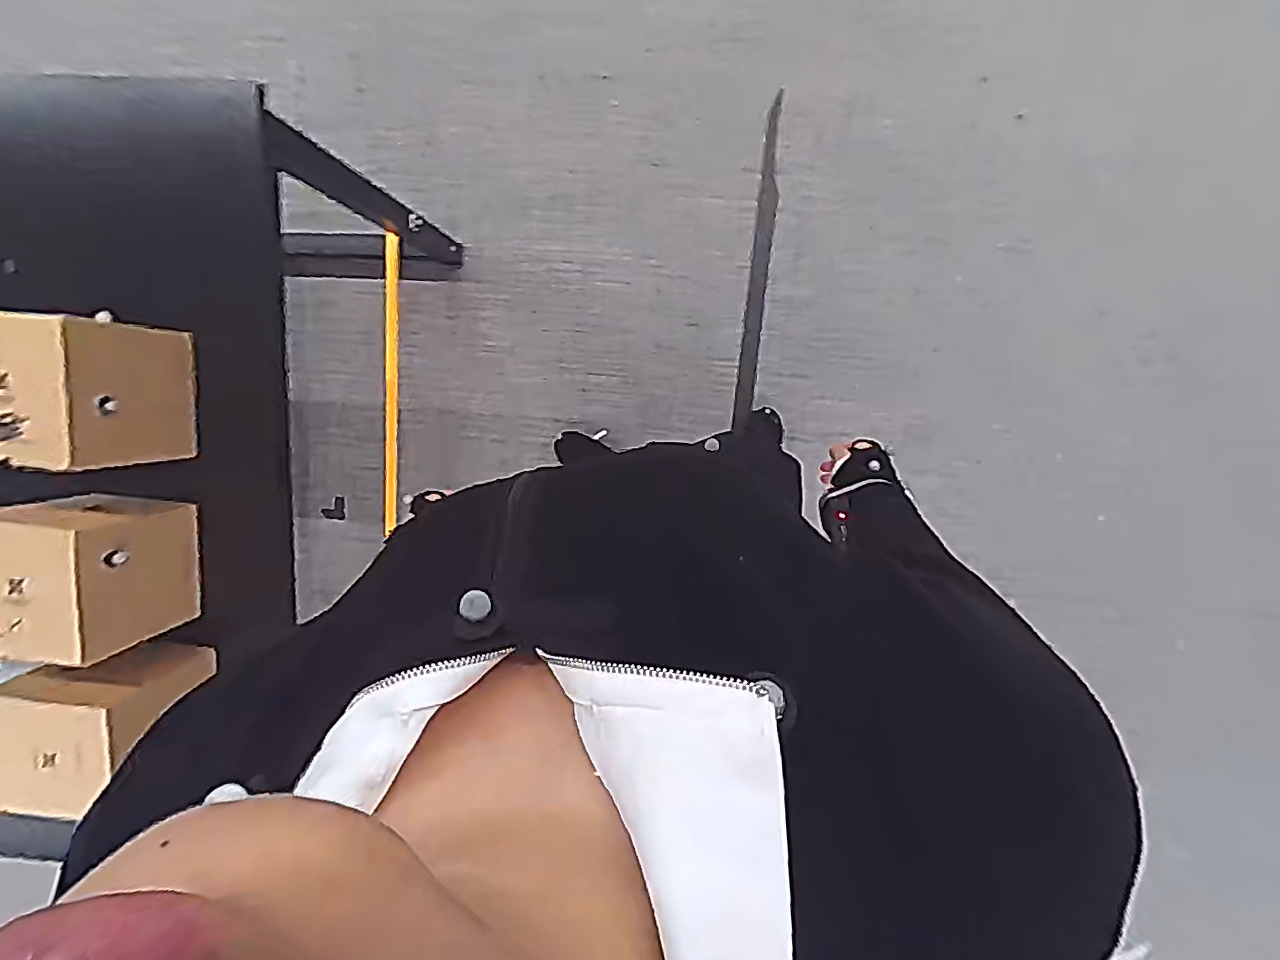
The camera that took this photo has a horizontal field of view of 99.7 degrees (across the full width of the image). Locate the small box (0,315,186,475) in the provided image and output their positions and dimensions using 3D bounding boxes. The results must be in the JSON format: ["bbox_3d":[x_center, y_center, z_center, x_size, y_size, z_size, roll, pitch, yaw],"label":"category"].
[{"bbox_3d":[-0.724,-0.110,0.687,0.168,0.176,0.179,5,98,3],"label":"small box"}]

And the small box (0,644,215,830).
[{"bbox_3d":[-0.748,0.345,0.756,0.179,0.176,0.168,4,100,2],"label":"small box"}]
